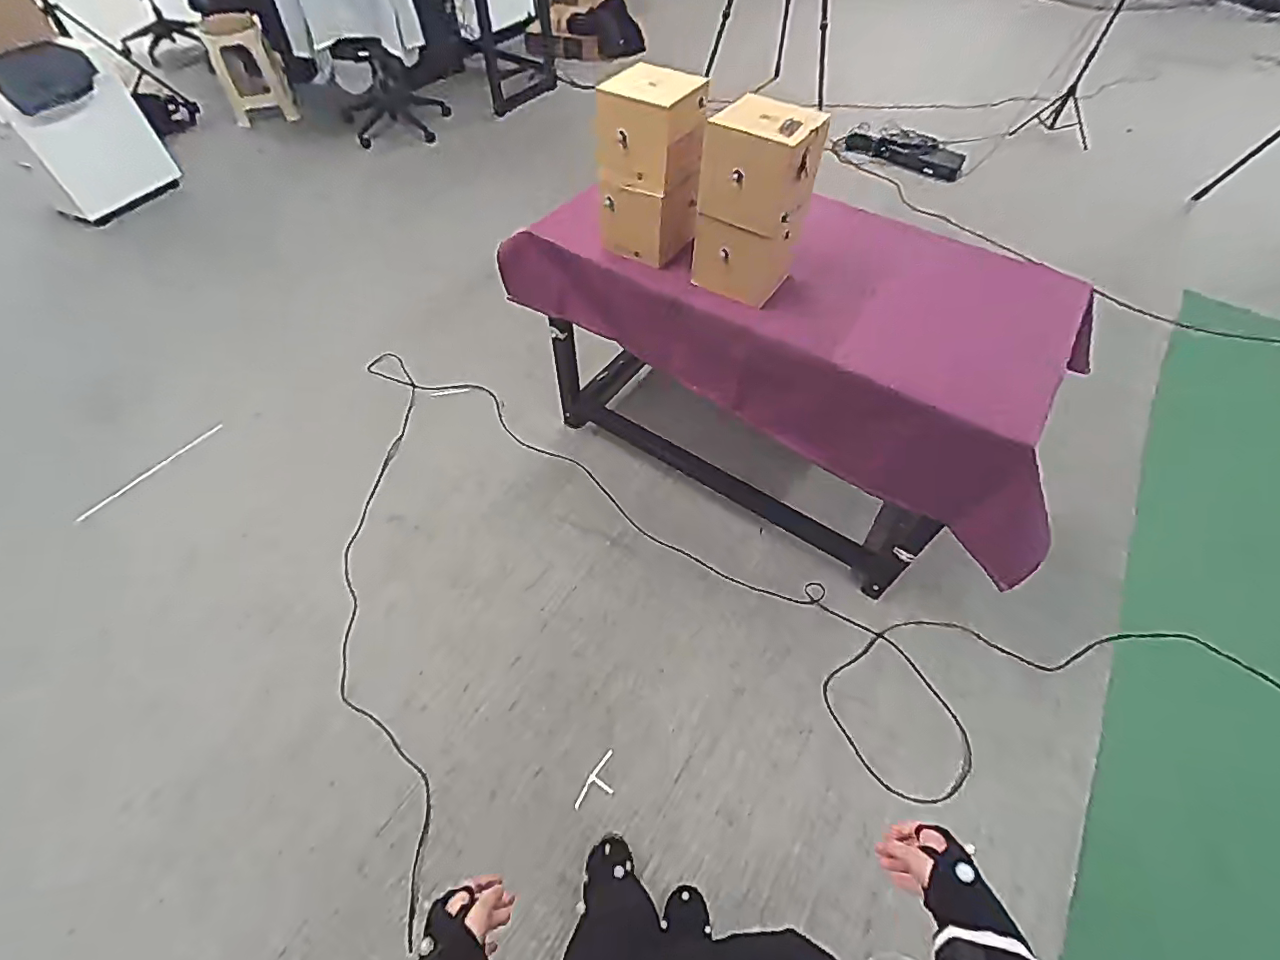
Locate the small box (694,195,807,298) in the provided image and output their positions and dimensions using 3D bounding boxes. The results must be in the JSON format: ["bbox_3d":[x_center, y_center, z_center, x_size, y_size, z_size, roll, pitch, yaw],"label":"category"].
[{"bbox_3d":[0.230,-0.523,1.170,0.179,0.176,0.168,28,60,18],"label":"small box"}]

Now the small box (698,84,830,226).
[{"bbox_3d":[0.229,-0.614,1.032,0.179,0.176,0.168,30,59,20],"label":"small box"}]

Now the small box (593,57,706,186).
[{"bbox_3d":[0.021,-0.742,1.124,0.168,0.176,0.179,26,57,17],"label":"small box"}]
